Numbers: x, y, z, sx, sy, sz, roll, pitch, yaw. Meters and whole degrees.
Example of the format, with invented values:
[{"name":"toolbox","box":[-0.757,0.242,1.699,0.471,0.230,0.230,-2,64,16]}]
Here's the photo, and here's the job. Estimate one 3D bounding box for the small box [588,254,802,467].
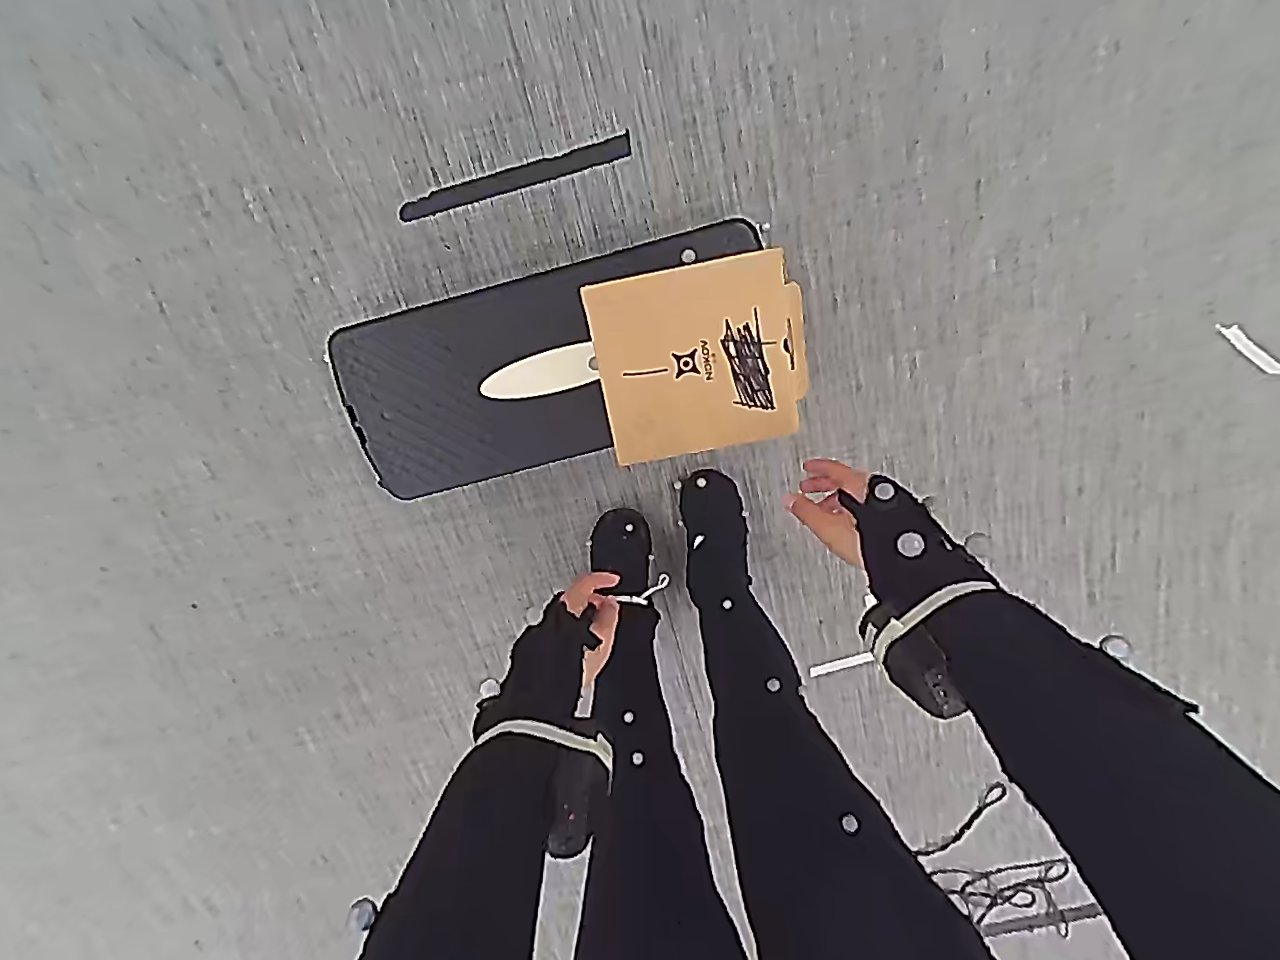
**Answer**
[{"name":"small box","box":[0.050,-0.127,0.556,0.179,0.176,0.168,-10,108,2]}]
